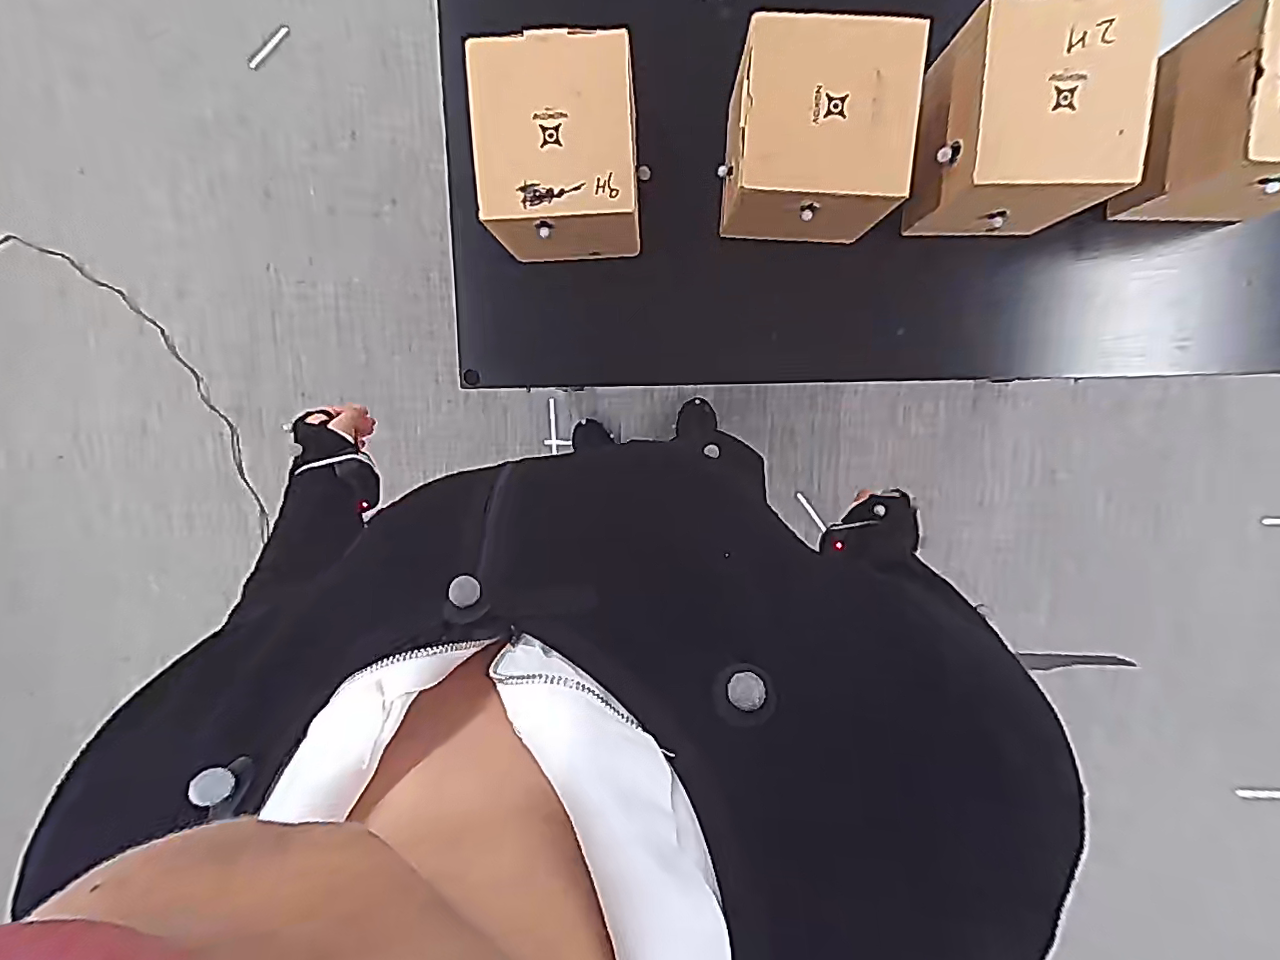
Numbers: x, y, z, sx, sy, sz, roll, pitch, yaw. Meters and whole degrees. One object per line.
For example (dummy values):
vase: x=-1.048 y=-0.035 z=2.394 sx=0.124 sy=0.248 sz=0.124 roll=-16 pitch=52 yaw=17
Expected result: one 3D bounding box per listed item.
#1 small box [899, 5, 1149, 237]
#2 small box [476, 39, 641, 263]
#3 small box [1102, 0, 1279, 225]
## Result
small box: x=0.419 y=-0.393 z=0.623 sx=0.168 sy=0.176 sz=0.179 roll=1 pitch=97 yaw=2
small box: x=-0.085 y=-0.373 z=0.643 sx=0.168 sy=0.176 sz=0.179 roll=-1 pitch=97 yaw=2
small box: x=0.680 y=-0.402 z=0.613 sx=0.179 sy=0.176 sz=0.168 roll=1 pitch=97 yaw=1
